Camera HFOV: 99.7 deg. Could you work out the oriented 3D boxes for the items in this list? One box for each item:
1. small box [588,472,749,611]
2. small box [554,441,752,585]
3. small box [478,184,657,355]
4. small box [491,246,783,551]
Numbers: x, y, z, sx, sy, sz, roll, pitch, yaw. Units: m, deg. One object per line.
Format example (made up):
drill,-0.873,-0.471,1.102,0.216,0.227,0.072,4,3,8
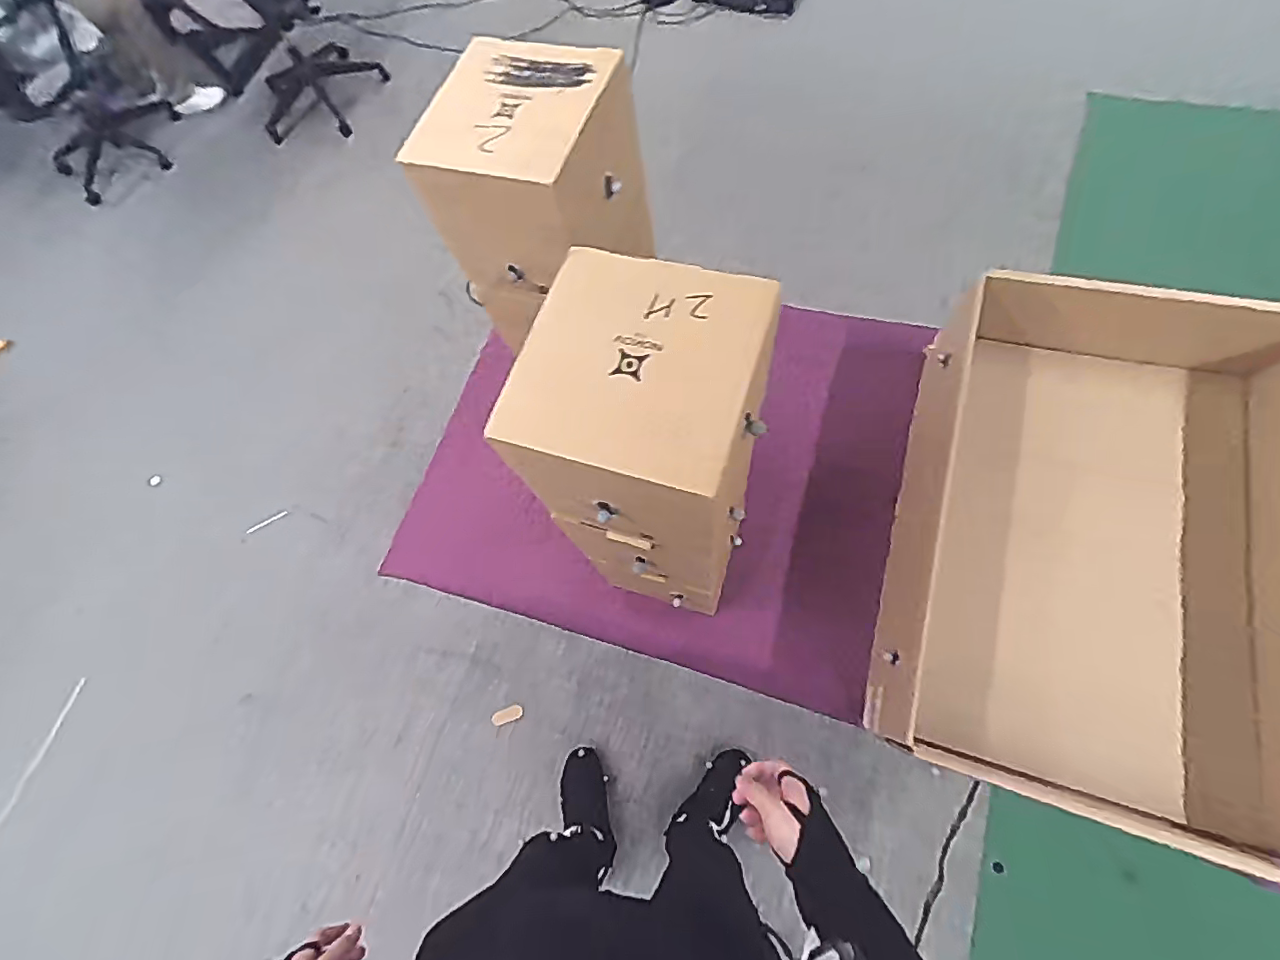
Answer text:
small box,0.048,0.070,0.755,0.168,0.176,0.179,15,70,14
small box,0.028,0.005,0.606,0.168,0.176,0.179,15,71,13
small box,-0.081,-0.254,0.728,0.168,0.176,0.179,17,72,15
small box,0.010,-0.057,0.454,0.168,0.176,0.179,16,71,13
